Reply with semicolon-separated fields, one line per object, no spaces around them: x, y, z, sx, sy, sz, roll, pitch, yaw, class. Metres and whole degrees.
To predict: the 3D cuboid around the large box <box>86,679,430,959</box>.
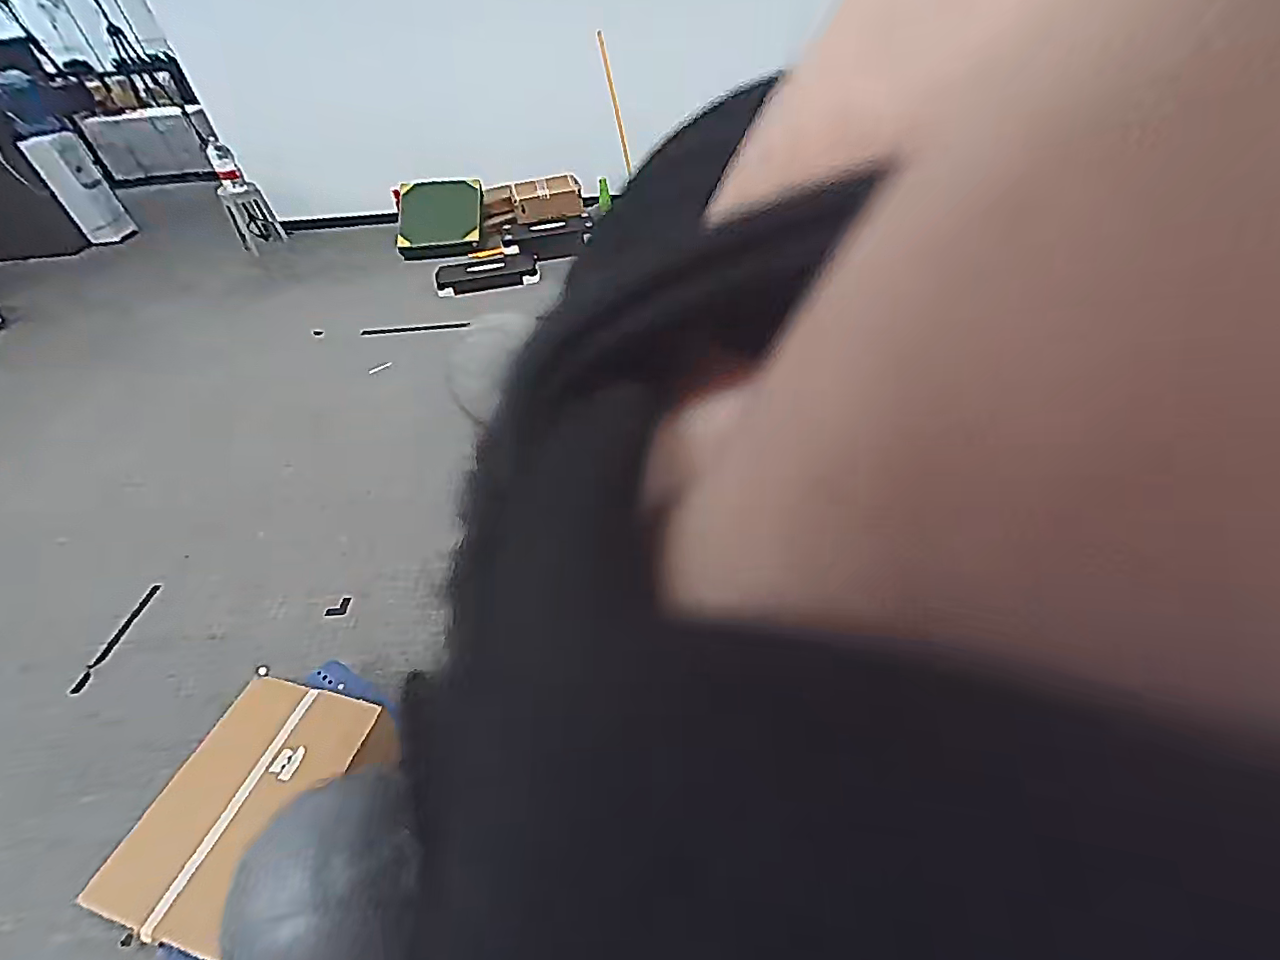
-0.697;0.682;1.076;0.320;0.320;0.408;8;45;13;large box
